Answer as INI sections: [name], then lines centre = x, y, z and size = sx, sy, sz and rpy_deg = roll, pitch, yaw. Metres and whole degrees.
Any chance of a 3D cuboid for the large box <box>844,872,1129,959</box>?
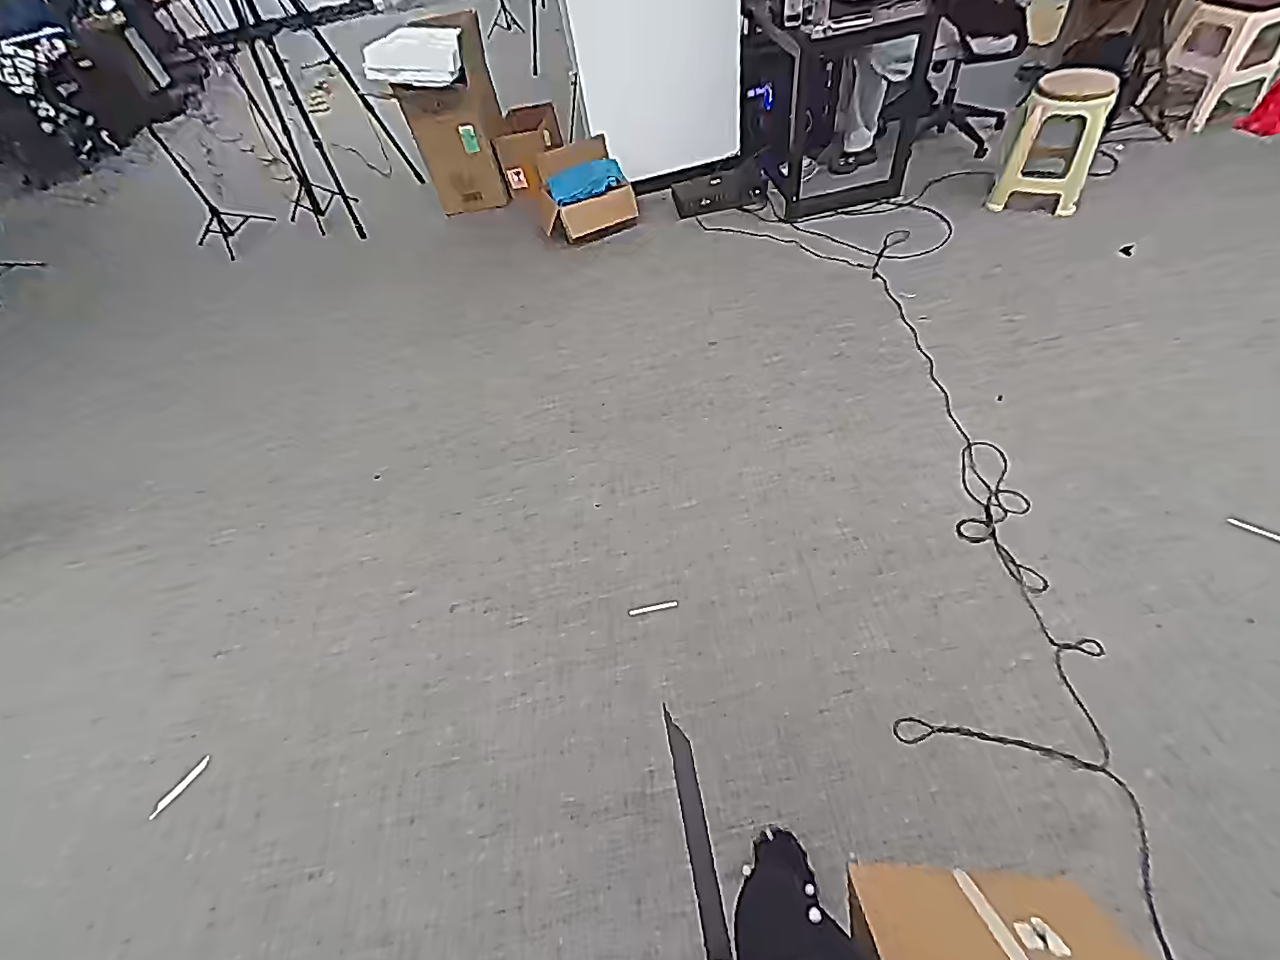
[large box]
centre = 0.438, 0.727, 0.599
size = 0.320, 0.408, 0.320
rpy_deg = 0, 83, 8
